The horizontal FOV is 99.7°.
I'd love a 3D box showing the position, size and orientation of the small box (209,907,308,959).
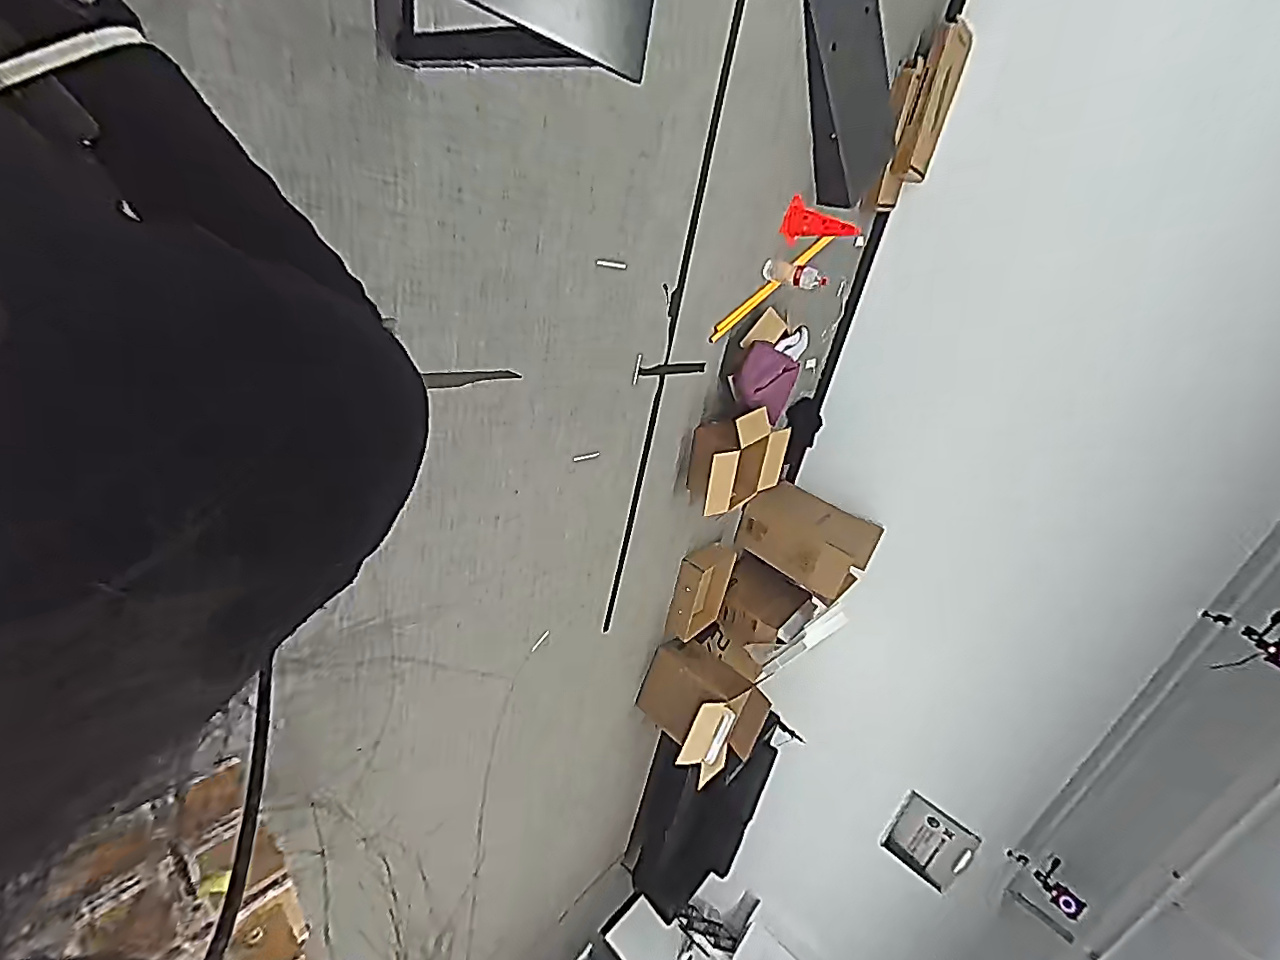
[{"bbox_3d":[-0.961,1.254,1.379,0.168,0.176,0.179,-23,127,-45],"label":"small box"}]
